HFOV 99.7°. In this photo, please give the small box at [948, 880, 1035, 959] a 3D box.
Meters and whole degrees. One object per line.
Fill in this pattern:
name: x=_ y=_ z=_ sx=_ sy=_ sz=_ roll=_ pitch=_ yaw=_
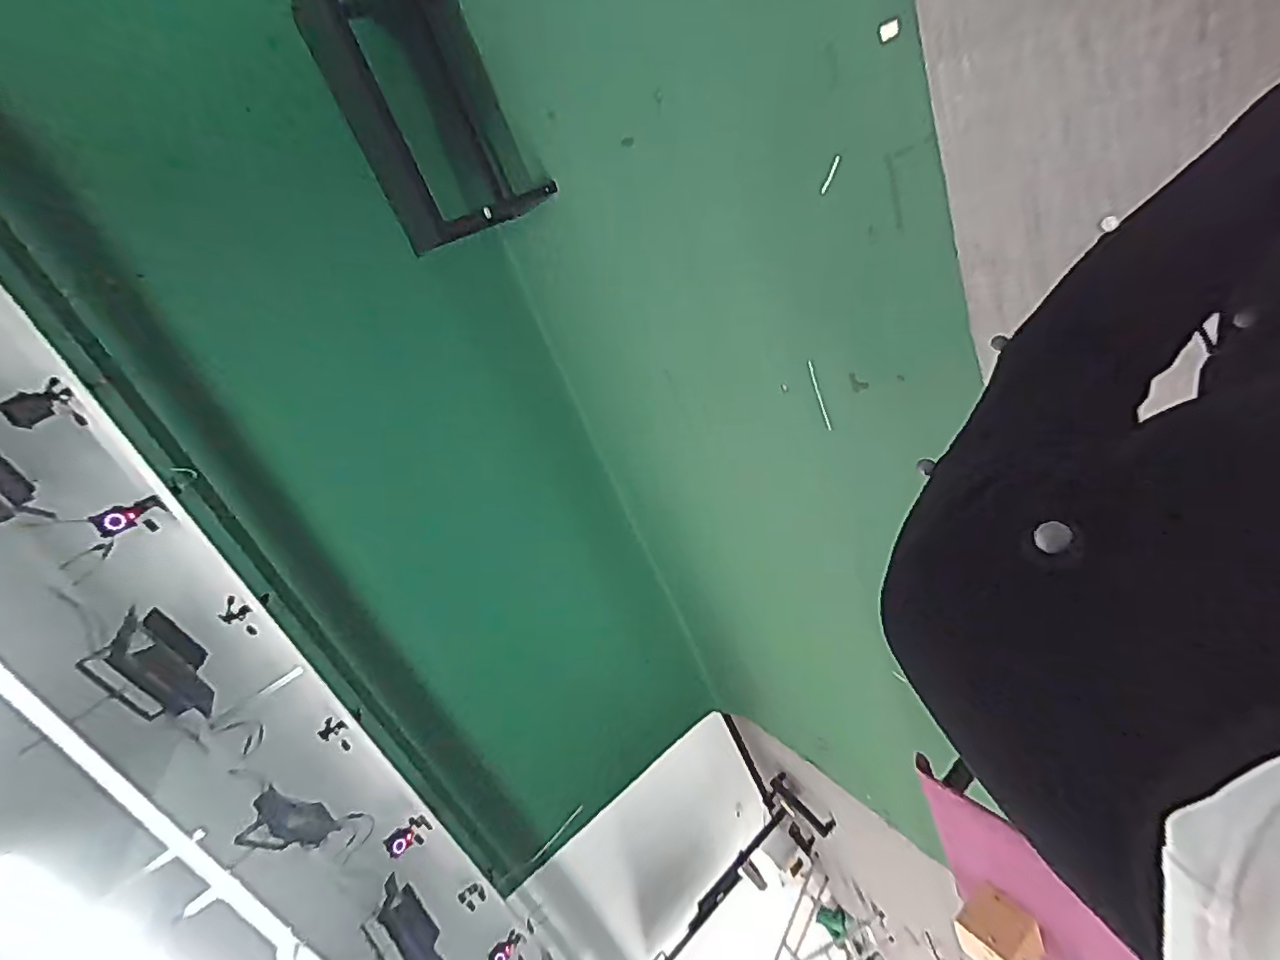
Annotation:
small box: x=1.106 y=1.421 z=1.695 sx=0.168 sy=0.176 sz=0.179 roll=14 pitch=132 yaw=57
